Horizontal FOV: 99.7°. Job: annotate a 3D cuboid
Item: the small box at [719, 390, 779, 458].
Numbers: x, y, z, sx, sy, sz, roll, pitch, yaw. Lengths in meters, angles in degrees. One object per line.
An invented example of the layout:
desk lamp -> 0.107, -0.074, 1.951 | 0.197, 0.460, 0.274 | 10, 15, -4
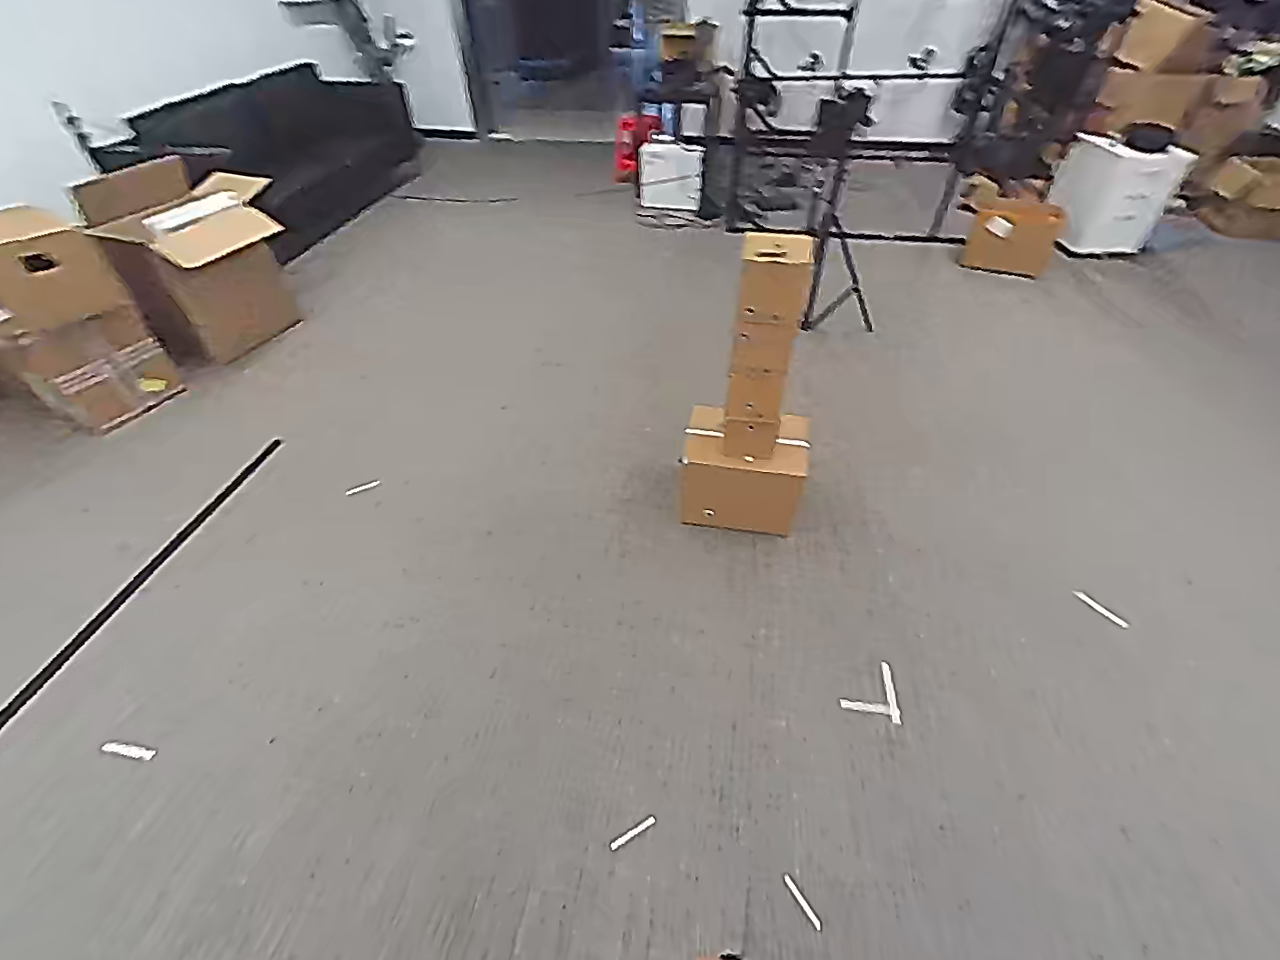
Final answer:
small box -> 0.354, -0.189, 1.776 | 0.179, 0.176, 0.168 | 6, 46, 6

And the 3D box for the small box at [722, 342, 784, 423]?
small box -> 0.344, -0.298, 1.656 | 0.168, 0.176, 0.179 | 6, 47, 7

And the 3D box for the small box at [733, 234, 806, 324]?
small box -> 0.337, -0.526, 1.420 | 0.168, 0.176, 0.179 | 7, 46, 9
